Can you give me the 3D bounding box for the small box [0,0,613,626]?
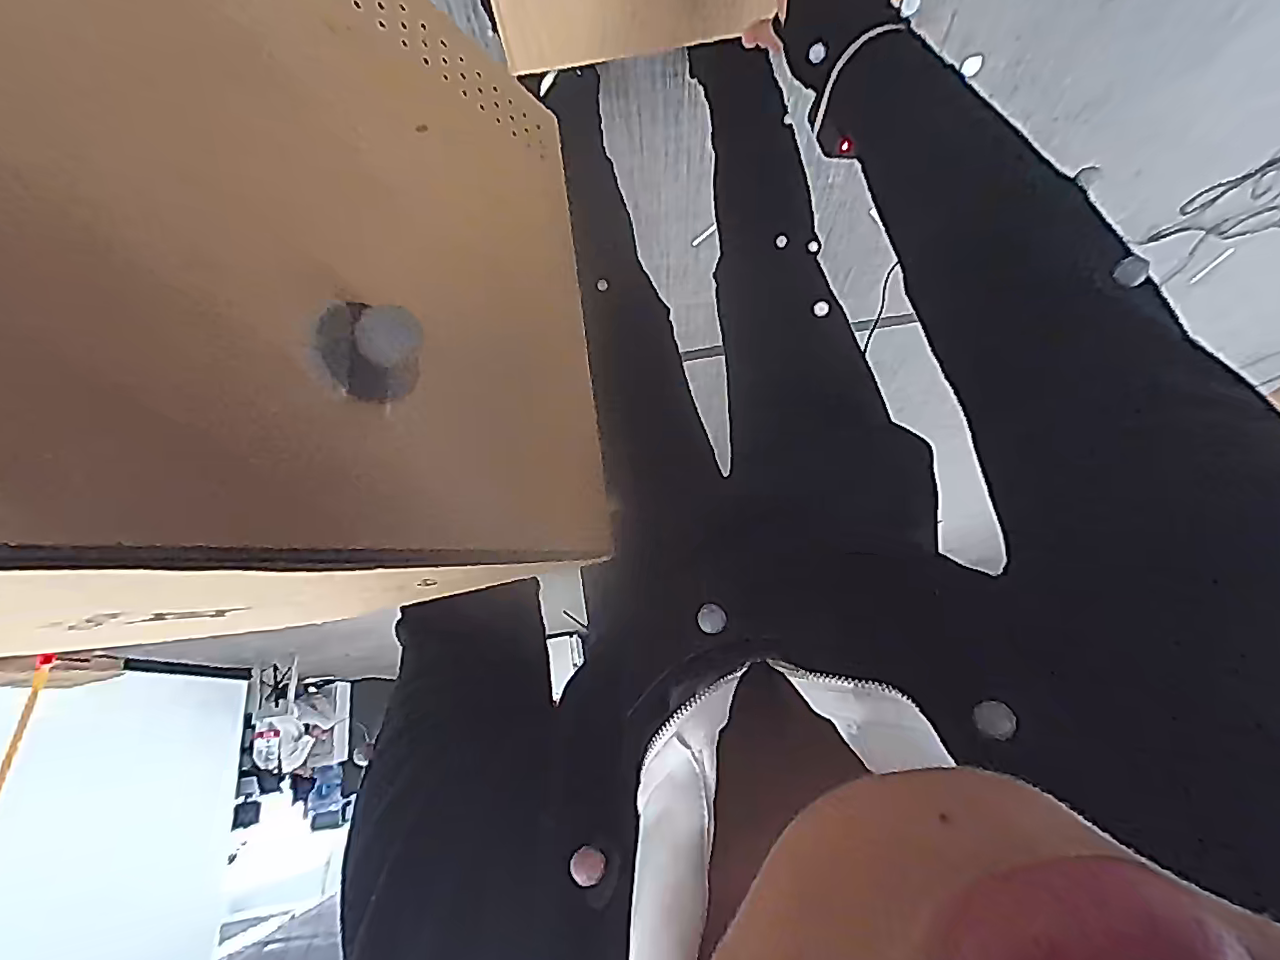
[{"bbox_3d":[-0.131,-0.053,0.166,0.168,0.176,0.179,-18,163,32],"label":"small box"}]
